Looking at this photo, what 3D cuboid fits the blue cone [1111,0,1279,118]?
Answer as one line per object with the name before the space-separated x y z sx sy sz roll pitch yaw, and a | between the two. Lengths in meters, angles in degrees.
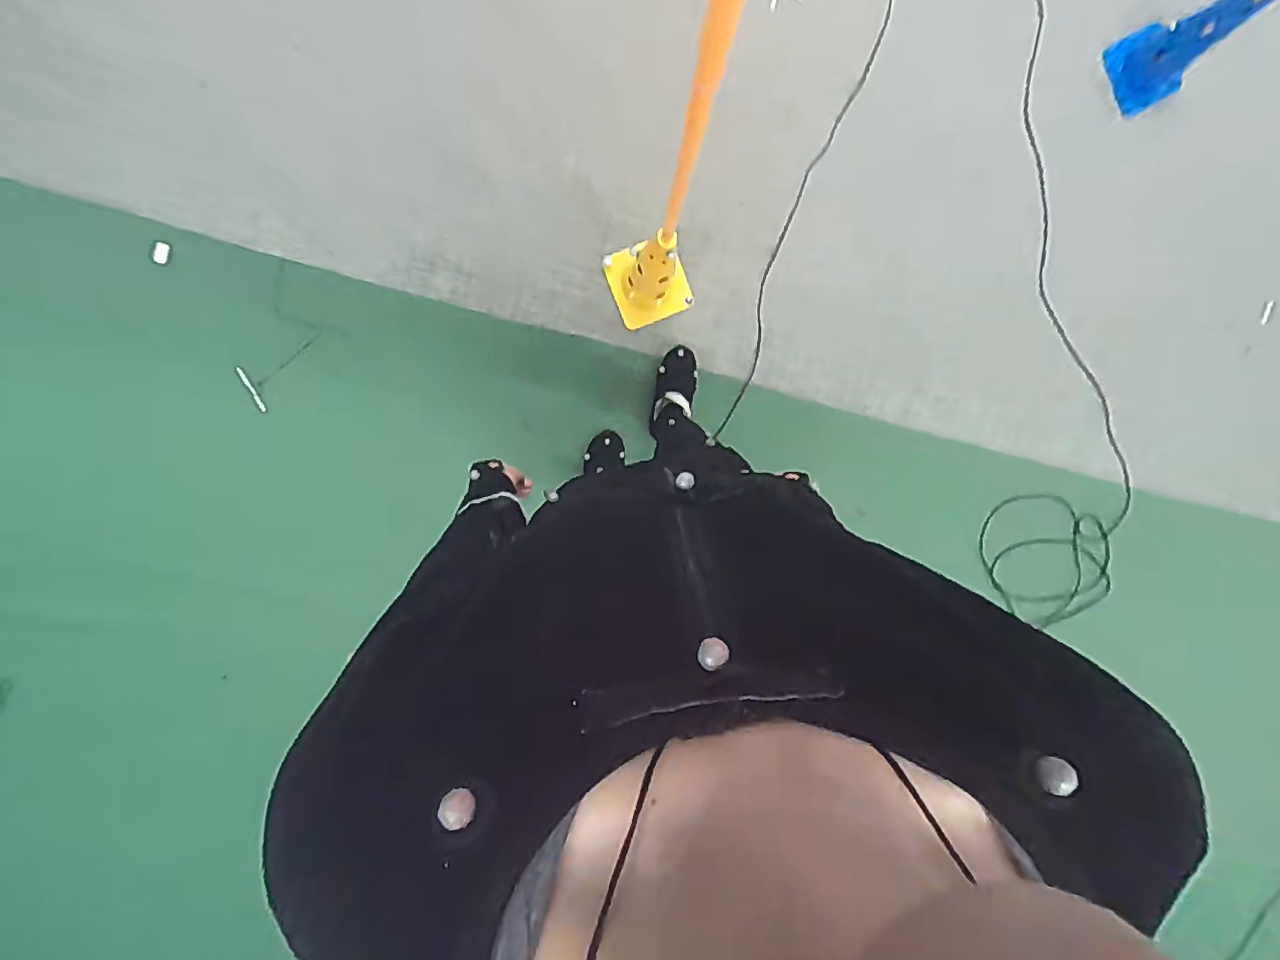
blue cone | 1.434 -1.123 1.345 0.193 0.380 0.192 -31 97 -4
